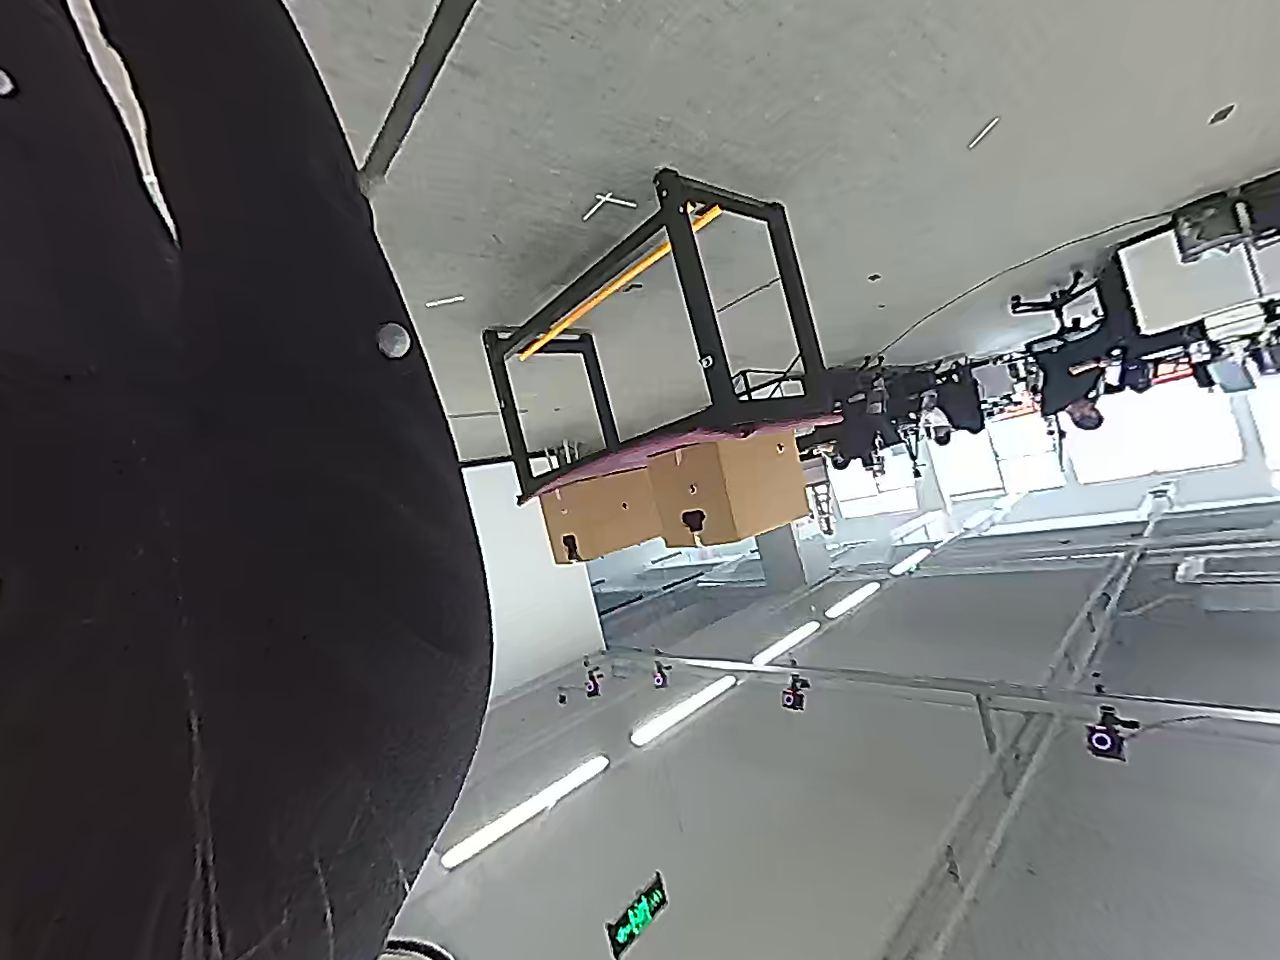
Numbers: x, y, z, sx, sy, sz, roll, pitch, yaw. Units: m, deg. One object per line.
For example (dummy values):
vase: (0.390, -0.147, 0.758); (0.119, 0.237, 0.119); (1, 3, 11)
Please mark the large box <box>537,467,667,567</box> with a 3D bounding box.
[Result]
large box: (-0.163, 0.153, 2.293); (0.408, 0.320, 0.320); (-14, 179, -42)
